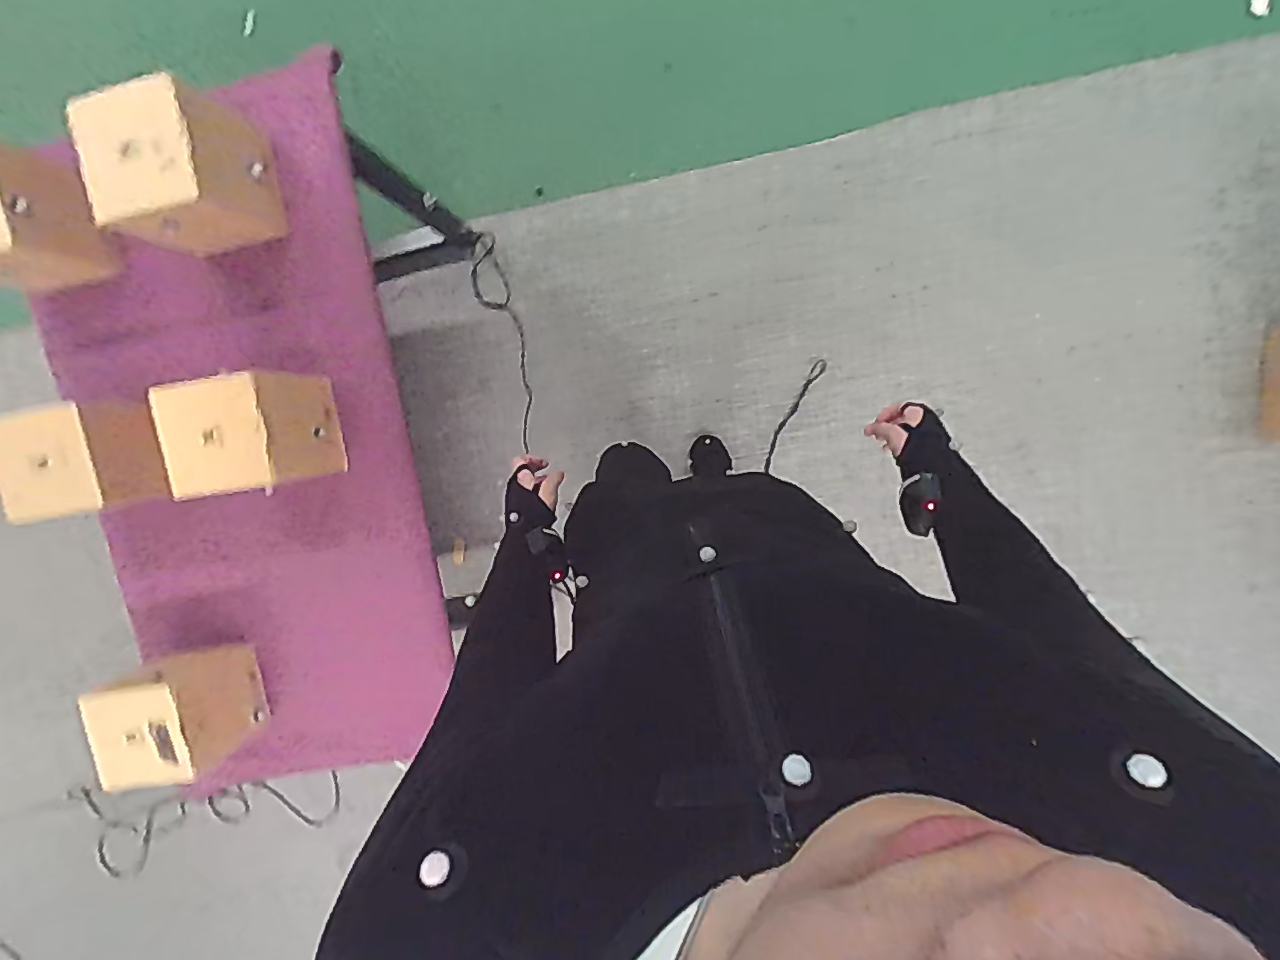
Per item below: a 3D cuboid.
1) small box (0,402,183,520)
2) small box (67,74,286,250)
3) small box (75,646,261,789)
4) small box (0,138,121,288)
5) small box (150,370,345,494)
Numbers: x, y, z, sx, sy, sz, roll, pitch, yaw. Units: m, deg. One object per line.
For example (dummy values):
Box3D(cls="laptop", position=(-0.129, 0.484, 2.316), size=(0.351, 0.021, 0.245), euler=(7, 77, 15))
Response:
Box3D(cls="small box", position=(-0.919, -0.036, 0.912), size=(0.179, 0.176, 0.168), euler=(-9, 96, 5))
Box3D(cls="small box", position=(-0.697, -0.471, 0.831), size=(0.179, 0.176, 0.168), euler=(-8, 97, 8))
Box3D(cls="small box", position=(-0.809, 0.407, 0.952), size=(0.179, 0.176, 0.168), euler=(-9, 95, 6))
Box3D(cls="small box", position=(-1.012, -0.421, 0.870), size=(0.179, 0.176, 0.168), euler=(-10, 98, 6))
Box3D(cls="small box", position=(-0.623, -0.076, 0.877), size=(0.179, 0.176, 0.168), euler=(-8, 96, 8))
